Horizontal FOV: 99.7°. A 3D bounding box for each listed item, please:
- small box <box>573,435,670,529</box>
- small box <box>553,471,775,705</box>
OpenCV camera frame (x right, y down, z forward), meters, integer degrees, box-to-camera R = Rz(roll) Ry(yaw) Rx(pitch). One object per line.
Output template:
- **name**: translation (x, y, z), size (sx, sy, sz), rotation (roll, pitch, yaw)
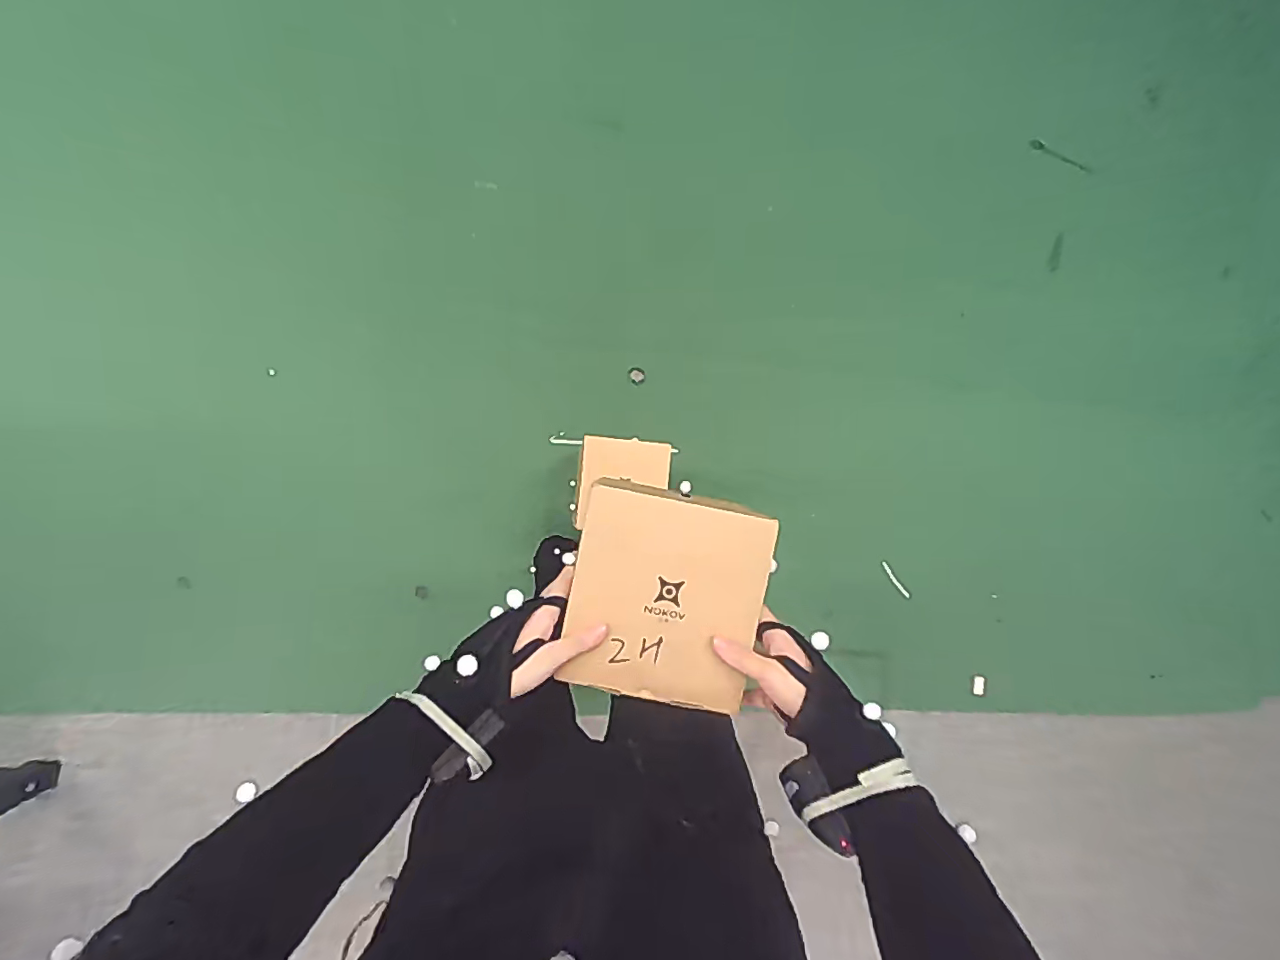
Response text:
- **small box**: translation (-0.044, 0.015, 1.078), size (0.168, 0.176, 0.179), rotation (5, 87, -8)
- **small box**: translation (0.019, 0.092, 0.545), size (0.168, 0.176, 0.179), rotation (12, 94, -1)
